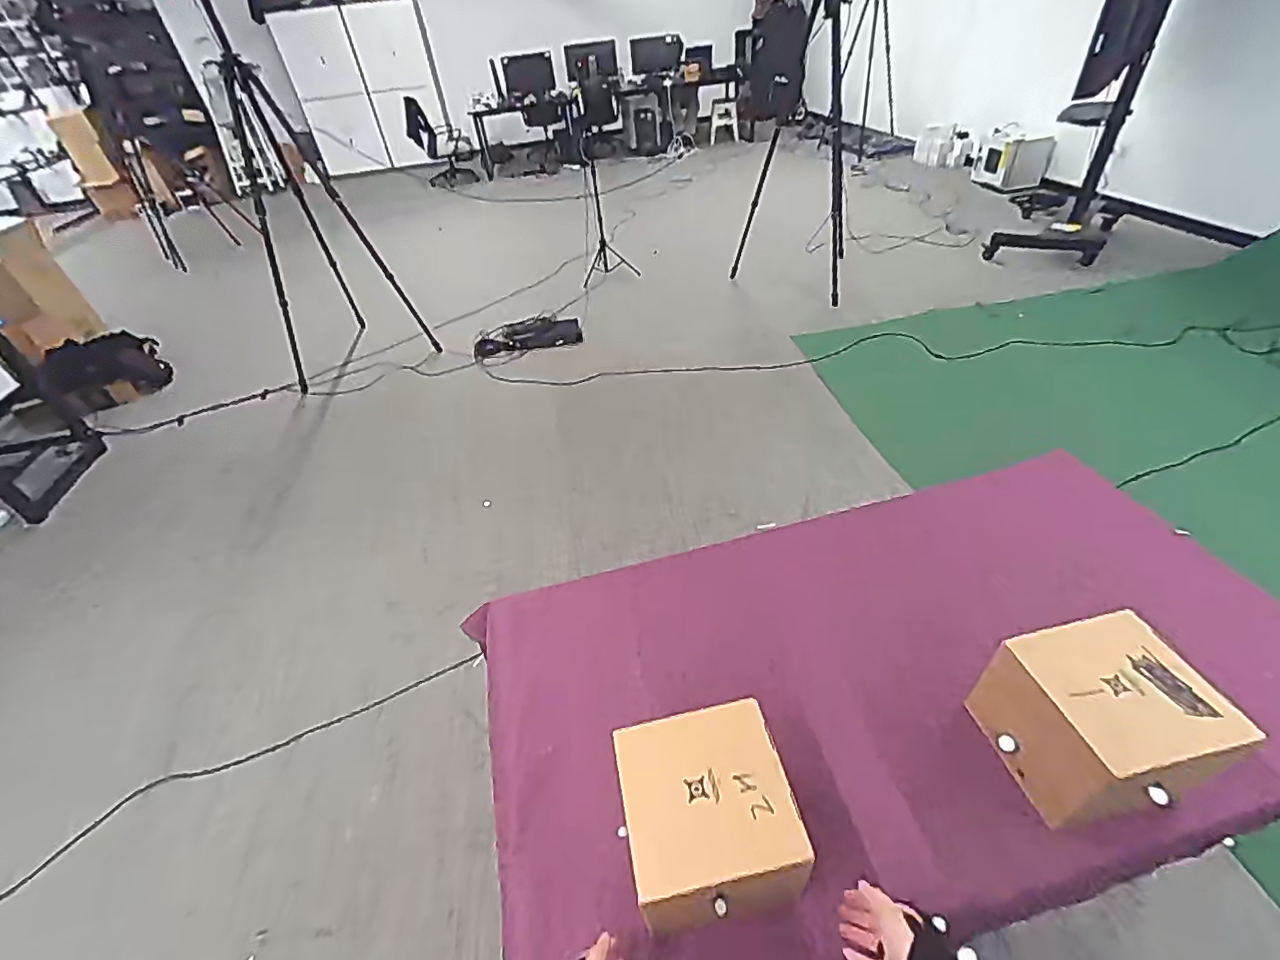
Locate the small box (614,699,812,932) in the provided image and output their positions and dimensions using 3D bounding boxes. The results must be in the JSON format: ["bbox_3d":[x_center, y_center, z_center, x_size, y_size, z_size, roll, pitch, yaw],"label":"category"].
[{"bbox_3d":[0.077,0.383,0.619,0.179,0.176,0.168,-11,42,-4],"label":"small box"}]

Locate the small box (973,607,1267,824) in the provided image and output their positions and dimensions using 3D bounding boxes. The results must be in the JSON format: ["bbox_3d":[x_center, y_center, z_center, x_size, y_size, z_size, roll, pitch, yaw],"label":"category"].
[{"bbox_3d":[0.551,0.285,0.657,0.179,0.176,0.168,-13,41,-4],"label":"small box"}]
